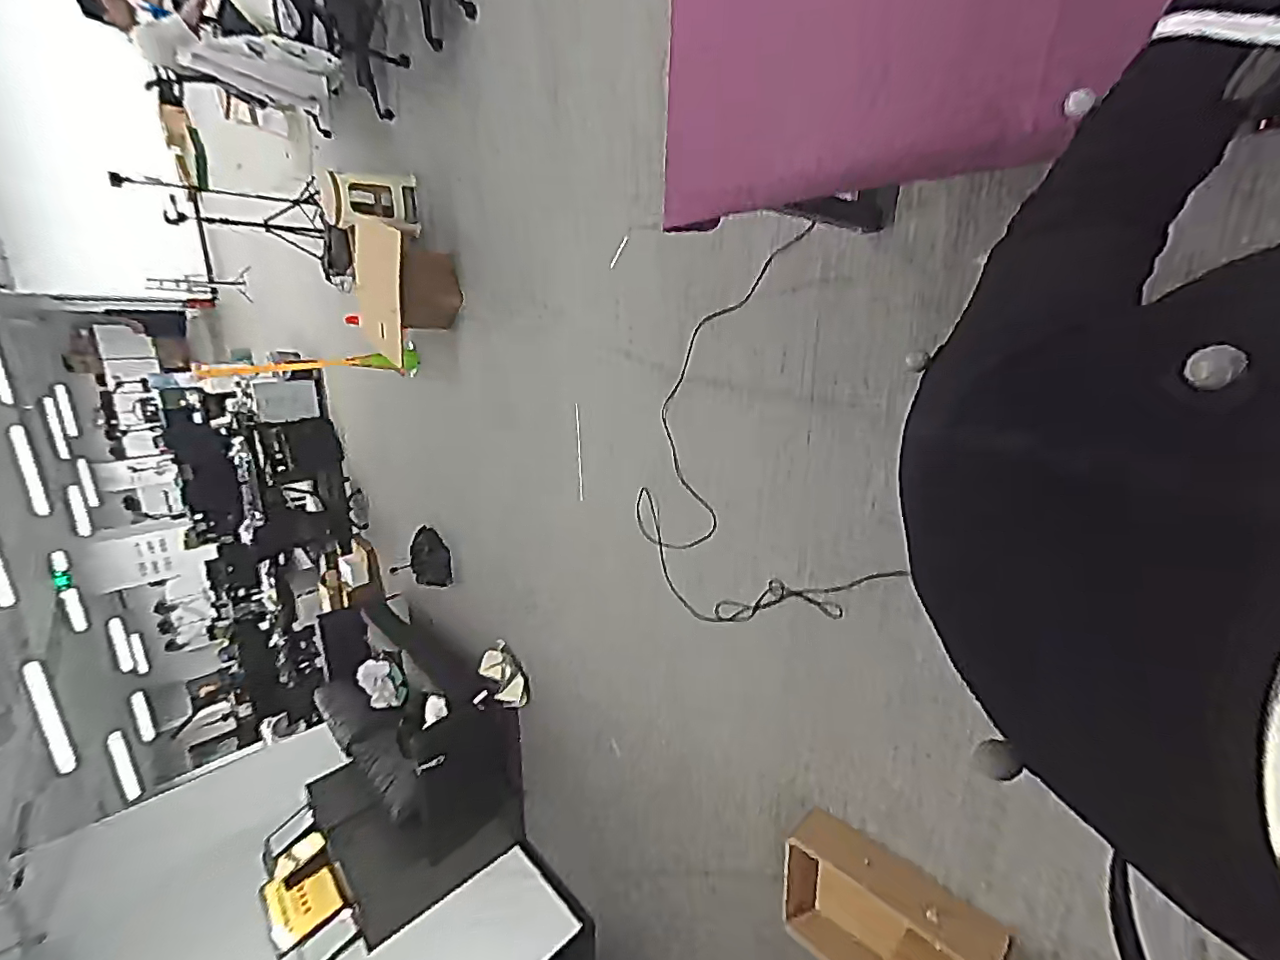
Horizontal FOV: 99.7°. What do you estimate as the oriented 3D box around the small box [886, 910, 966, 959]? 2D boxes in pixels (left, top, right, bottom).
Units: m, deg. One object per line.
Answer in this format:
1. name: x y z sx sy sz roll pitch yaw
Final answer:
1. small box: 0.832 1.437 1.586 0.168 0.176 0.179 16 113 45
